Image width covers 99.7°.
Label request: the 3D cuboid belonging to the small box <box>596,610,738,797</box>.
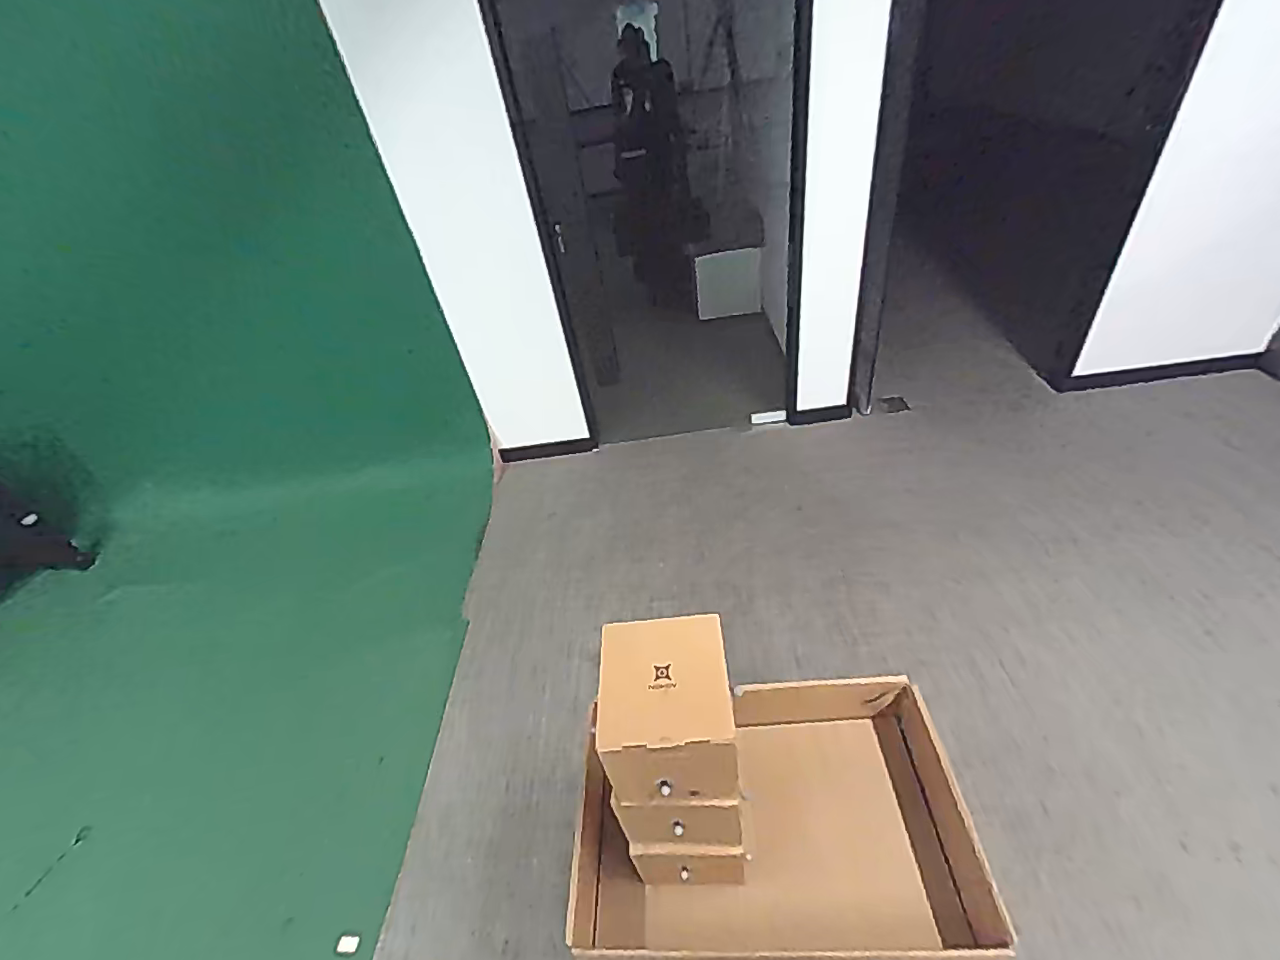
[{"bbox_3d":[0.041,0.304,0.738,0.168,0.176,0.179,-7,40,6],"label":"small box"}]

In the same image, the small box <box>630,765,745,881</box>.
[{"bbox_3d":[0.085,0.566,0.928,0.179,0.176,0.168,-5,40,7],"label":"small box"}]
